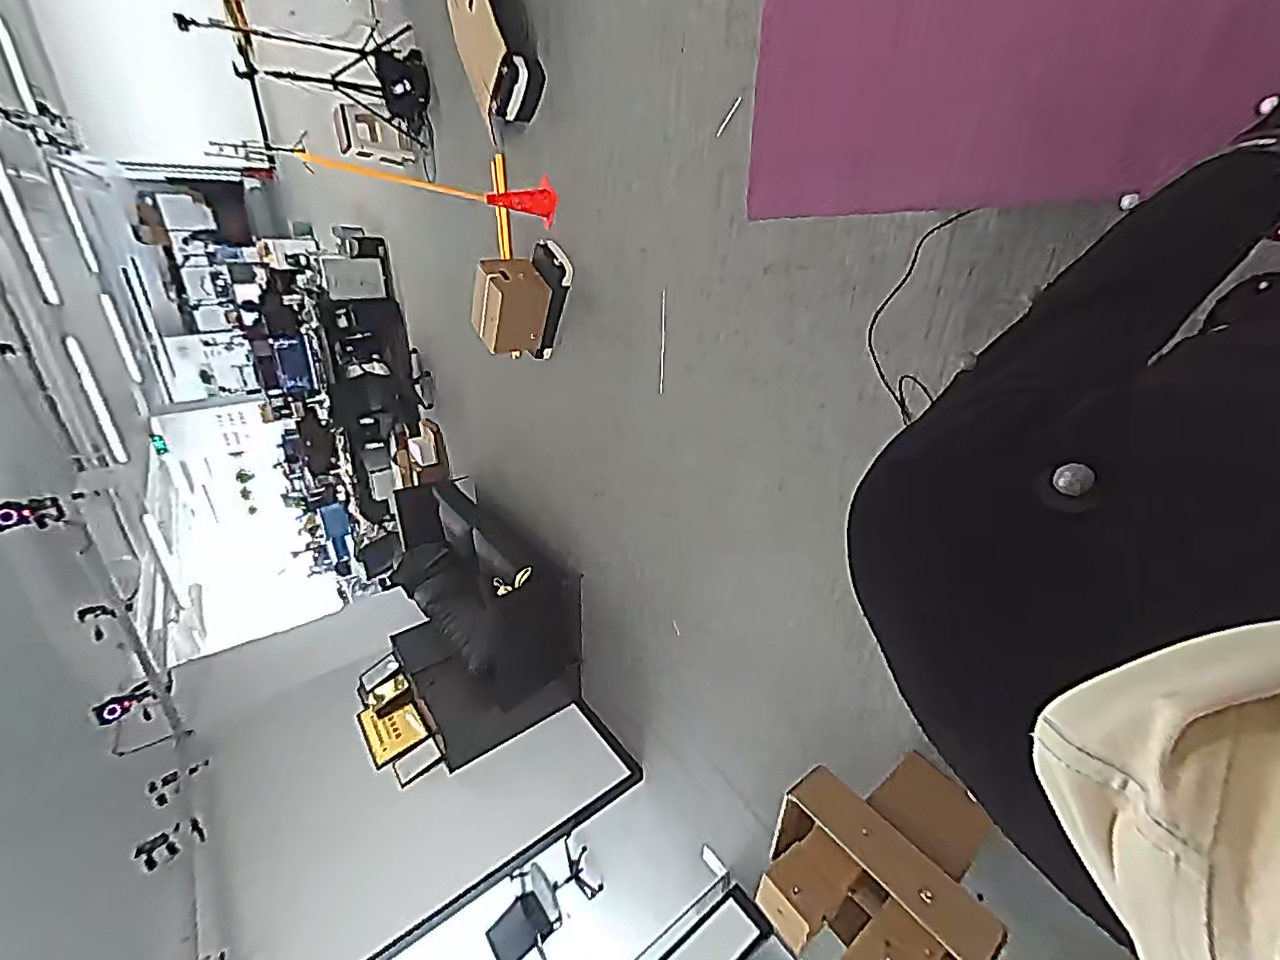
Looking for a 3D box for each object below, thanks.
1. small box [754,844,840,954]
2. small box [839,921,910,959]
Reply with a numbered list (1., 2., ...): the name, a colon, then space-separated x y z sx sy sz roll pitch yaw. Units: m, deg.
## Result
1. small box: 0.482 1.275 1.659 0.179 0.176 0.168 34 129 43
2. small box: 0.642 1.376 1.478 0.168 0.176 0.179 31 129 44
